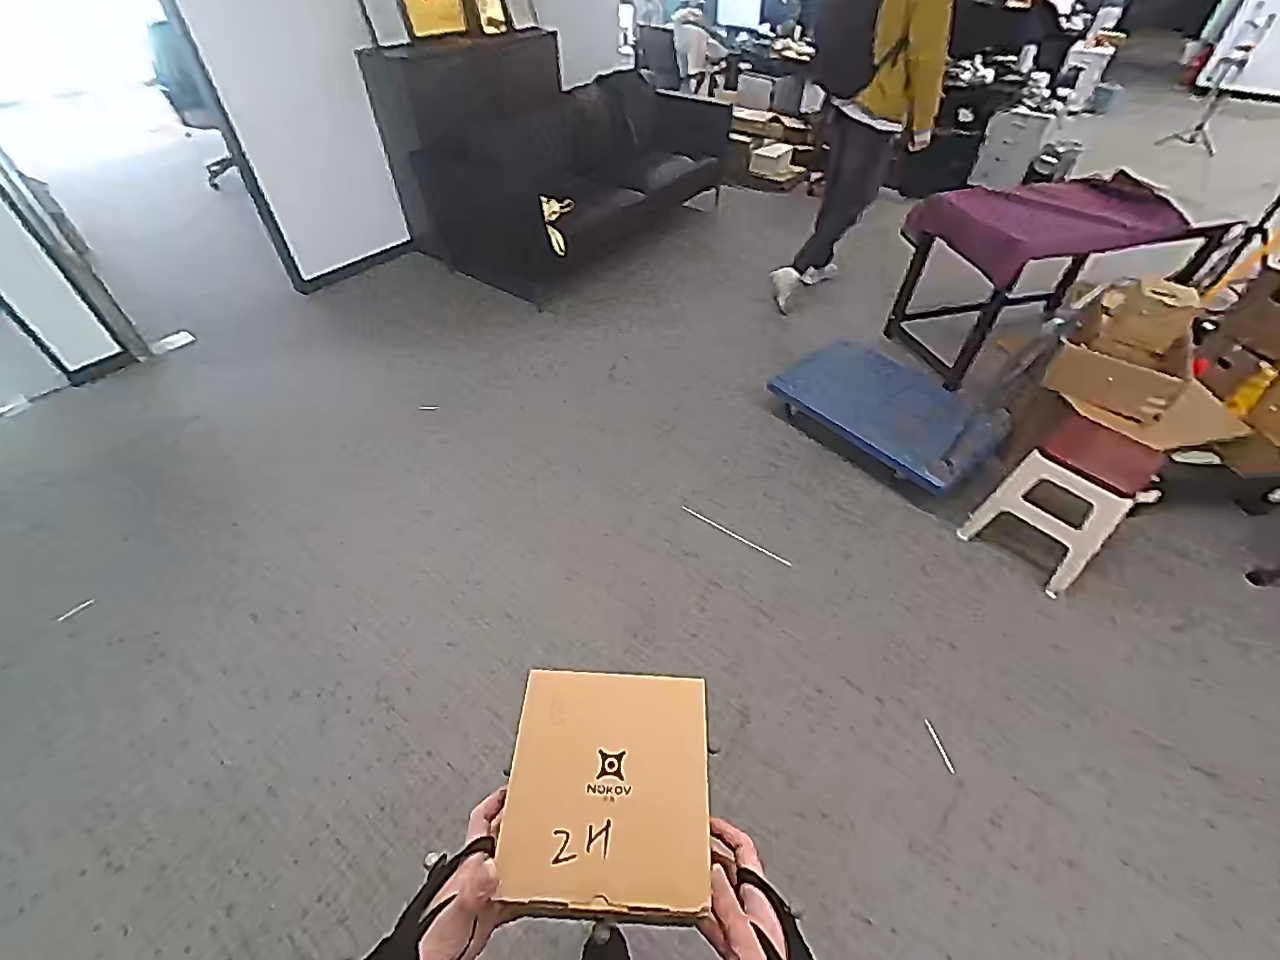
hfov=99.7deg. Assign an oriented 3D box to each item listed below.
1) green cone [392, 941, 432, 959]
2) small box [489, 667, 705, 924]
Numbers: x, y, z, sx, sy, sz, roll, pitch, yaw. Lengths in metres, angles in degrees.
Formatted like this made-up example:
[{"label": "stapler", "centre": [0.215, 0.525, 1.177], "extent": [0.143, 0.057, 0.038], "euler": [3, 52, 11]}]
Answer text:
[{"label": "green cone", "centre": [-0.500, 1.030, 1.020], "extent": [0.202, 0.368, 0.200], "euler": [30, 53, 23]}, {"label": "small box", "centre": [-0.030, 0.302, 0.518], "extent": [0.168, 0.176, 0.179], "euler": [3, 49, 2]}]
